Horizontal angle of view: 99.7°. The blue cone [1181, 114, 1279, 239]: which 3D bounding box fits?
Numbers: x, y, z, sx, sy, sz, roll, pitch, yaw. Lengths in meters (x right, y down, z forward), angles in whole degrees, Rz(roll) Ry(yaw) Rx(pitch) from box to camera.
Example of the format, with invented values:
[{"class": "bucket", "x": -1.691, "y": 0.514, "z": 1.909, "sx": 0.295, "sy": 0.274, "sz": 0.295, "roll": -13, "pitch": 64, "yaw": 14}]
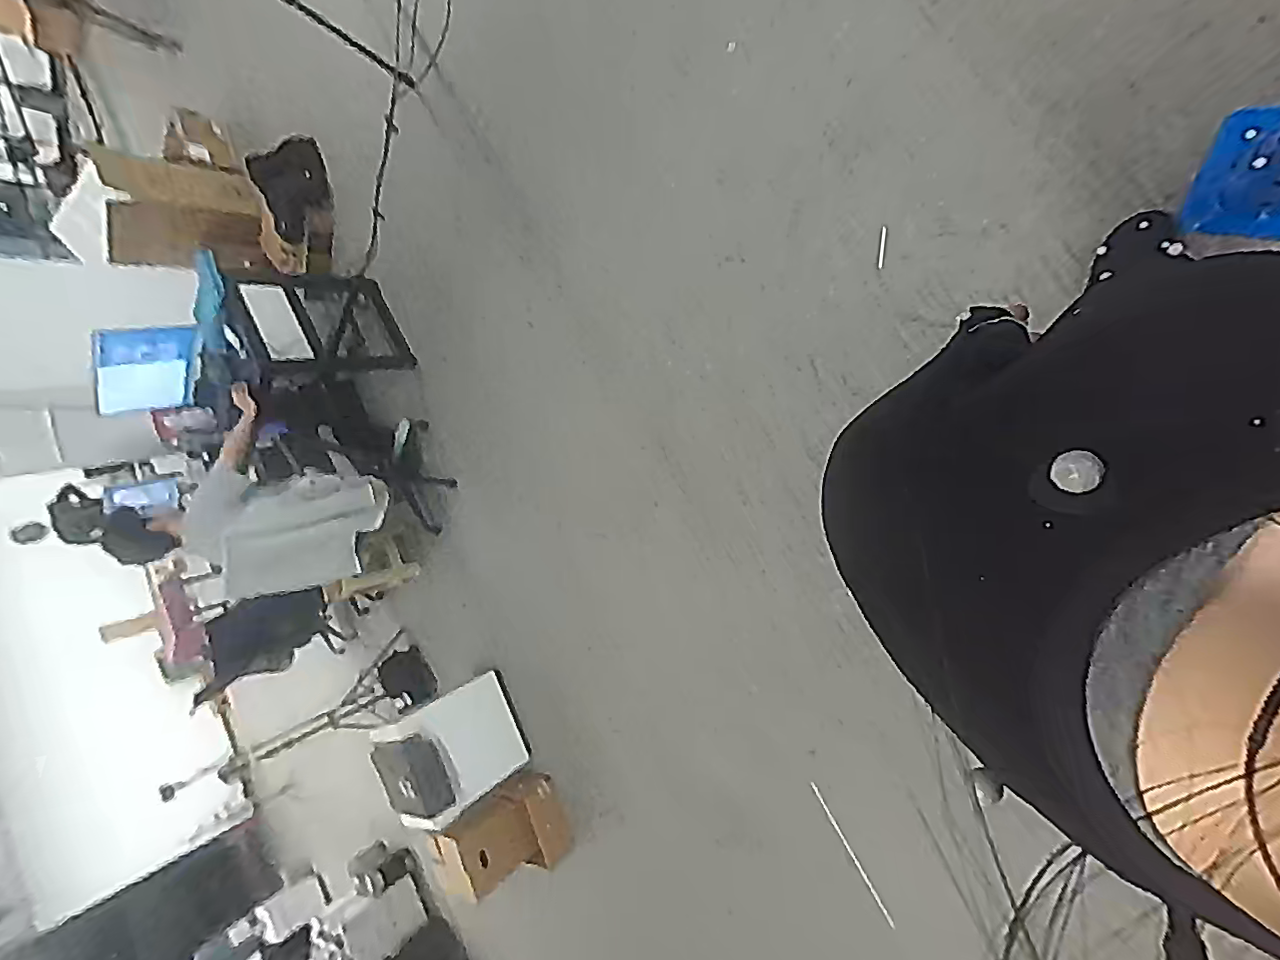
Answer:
[{"class": "blue cone", "x": 0.980, "y": -0.490, "z": 0.815, "sx": 0.193, "sy": 0.380, "sz": 0.192, "roll": 24, "pitch": 117, "yaw": 36}]
